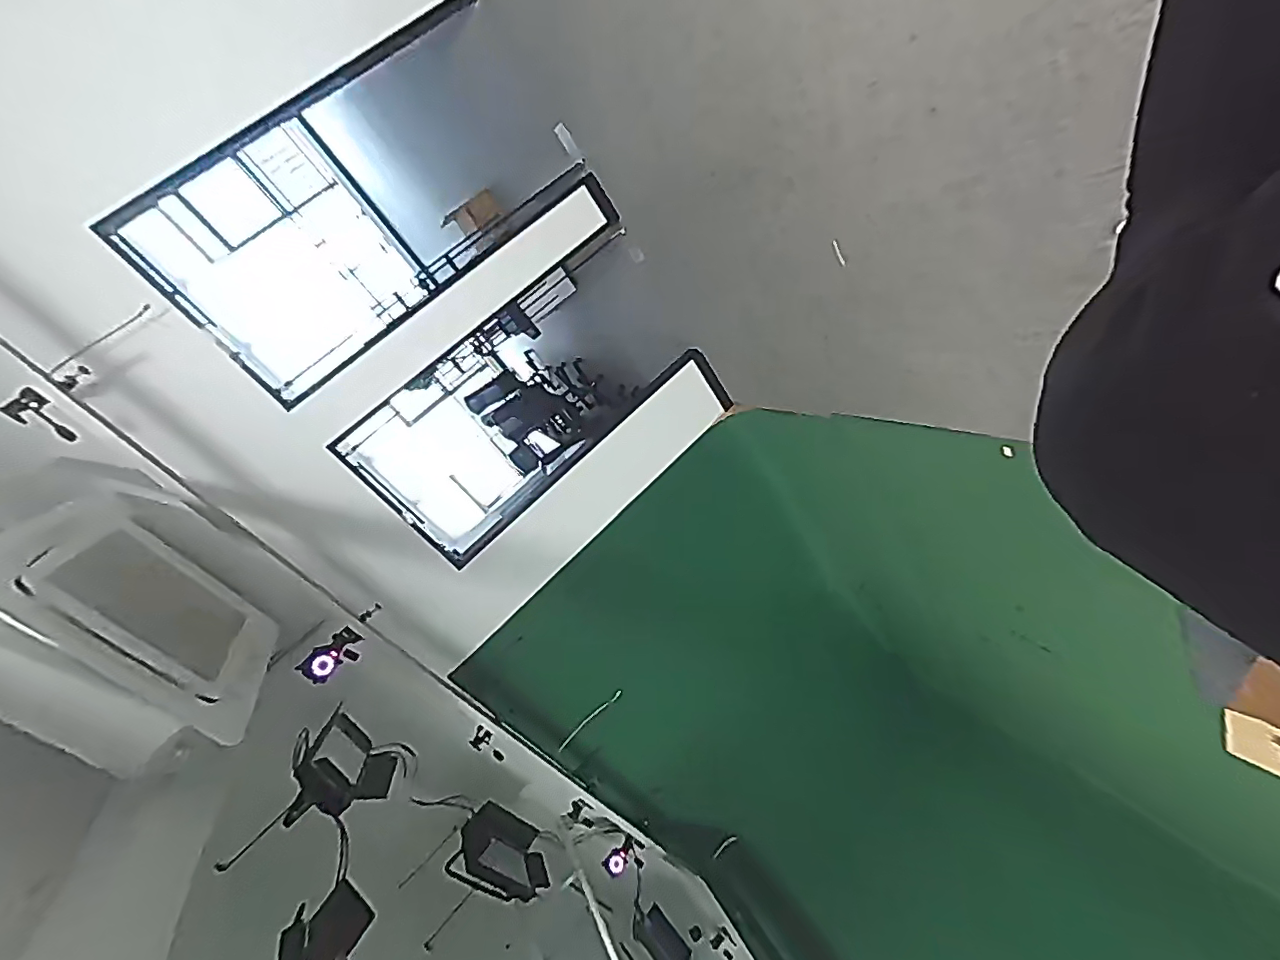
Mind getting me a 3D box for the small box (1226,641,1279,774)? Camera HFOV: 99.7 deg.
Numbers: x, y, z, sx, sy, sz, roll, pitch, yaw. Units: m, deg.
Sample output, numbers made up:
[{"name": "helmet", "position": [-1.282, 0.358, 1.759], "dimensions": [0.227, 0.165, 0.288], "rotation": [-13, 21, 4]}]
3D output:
[{"name": "small box", "position": [1.170, 0.416, 0.937], "dimensions": [0.179, 0.176, 0.168], "rotation": [52, 167, -28]}]
